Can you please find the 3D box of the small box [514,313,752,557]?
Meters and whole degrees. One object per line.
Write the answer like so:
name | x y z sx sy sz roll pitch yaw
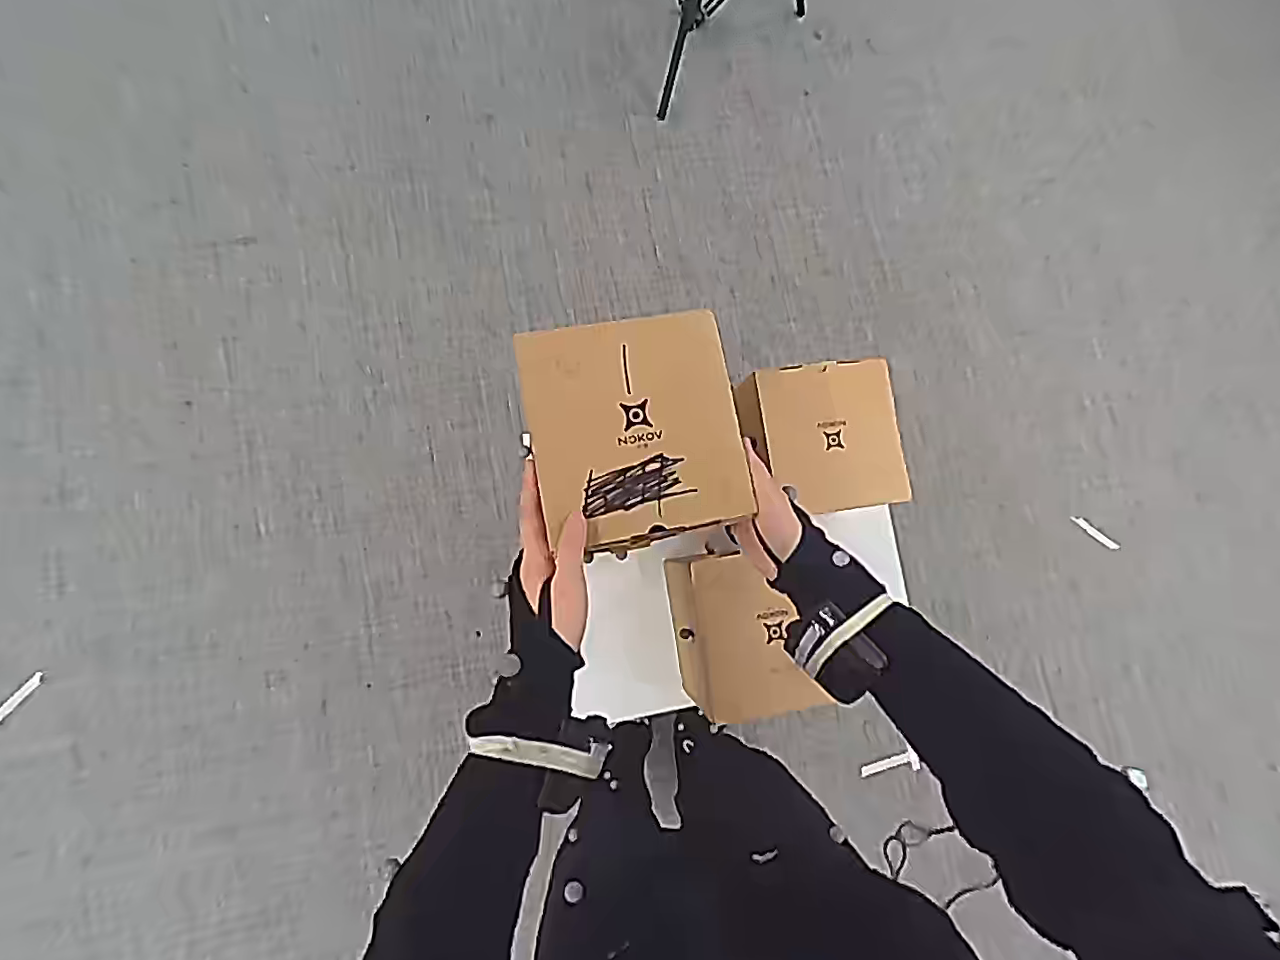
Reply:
small box | -0.015 -0.031 0.504 0.168 0.176 0.179 -10 84 -9

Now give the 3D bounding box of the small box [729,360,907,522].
small box | 0.211 -0.040 0.706 0.168 0.176 0.179 -8 83 -8
